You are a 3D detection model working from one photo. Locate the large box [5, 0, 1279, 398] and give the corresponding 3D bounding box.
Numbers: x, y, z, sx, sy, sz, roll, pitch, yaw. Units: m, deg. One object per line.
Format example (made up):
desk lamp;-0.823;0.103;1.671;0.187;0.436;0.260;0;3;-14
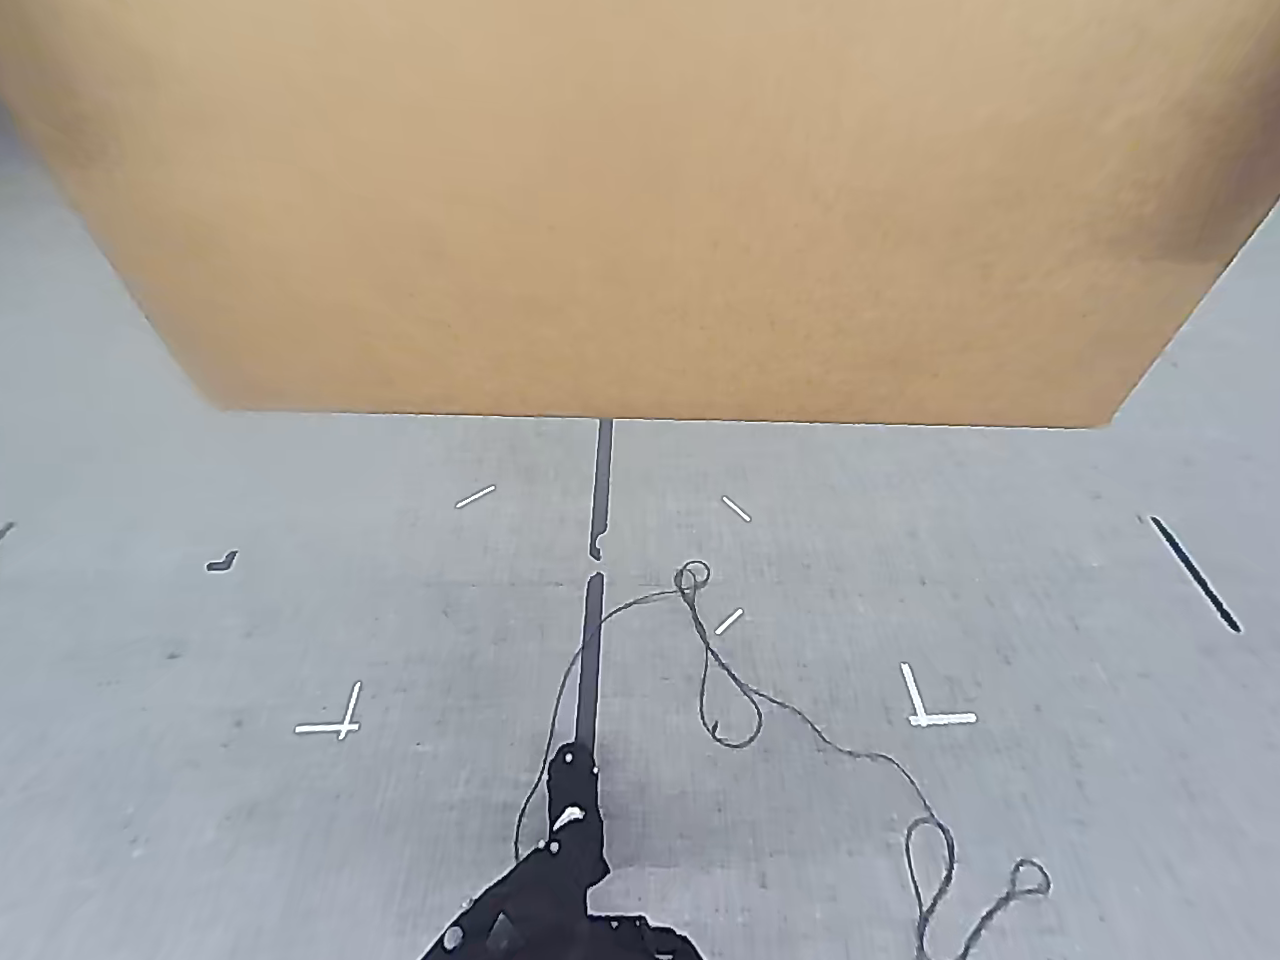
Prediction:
large box;0.010;-0.251;0.256;0.408;0.320;0.320;2;44;0
